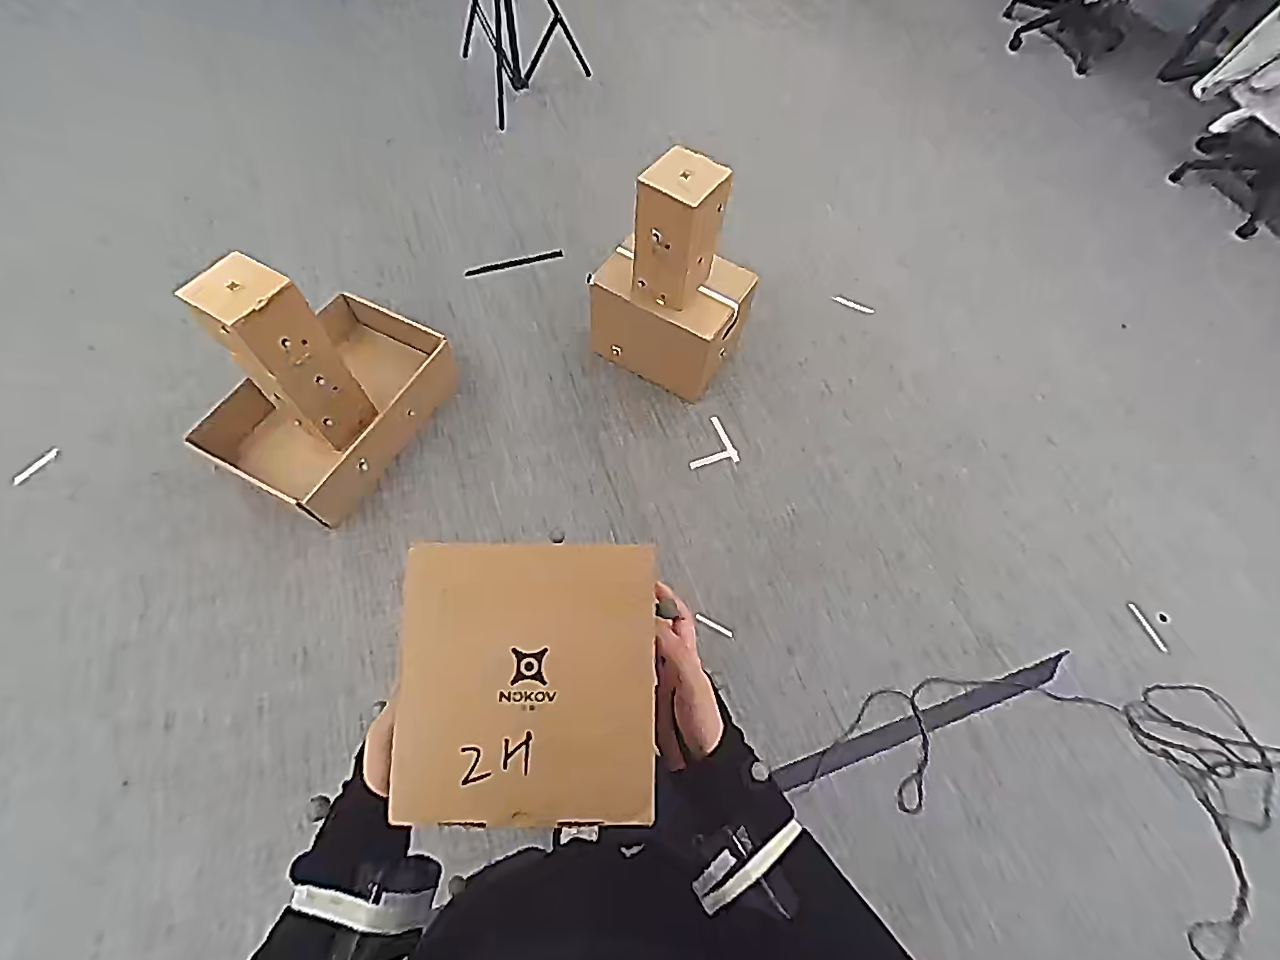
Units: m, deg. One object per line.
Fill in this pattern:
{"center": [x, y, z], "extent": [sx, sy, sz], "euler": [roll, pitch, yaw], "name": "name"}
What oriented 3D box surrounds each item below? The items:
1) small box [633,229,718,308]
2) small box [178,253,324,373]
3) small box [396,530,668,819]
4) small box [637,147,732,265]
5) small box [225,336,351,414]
{"center": [0.093, -0.613, 1.501], "extent": [0.168, 0.176, 0.179], "euler": [30, 64, 10], "name": "small box"}
{"center": [-0.881, -0.377, 1.243], "extent": [0.179, 0.176, 0.168], "euler": [28, 64, 11], "name": "small box"}
{"center": [-0.069, 0.136, 0.428], "extent": [0.168, 0.176, 0.179], "euler": [2, 81, -1], "name": "small box"}
{"center": [0.103, -0.681, 1.354], "extent": [0.168, 0.176, 0.179], "euler": [32, 66, 12], "name": "small box"}
{"center": [-0.886, -0.294, 1.384], "extent": [0.179, 0.176, 0.168], "euler": [29, 64, 11], "name": "small box"}
